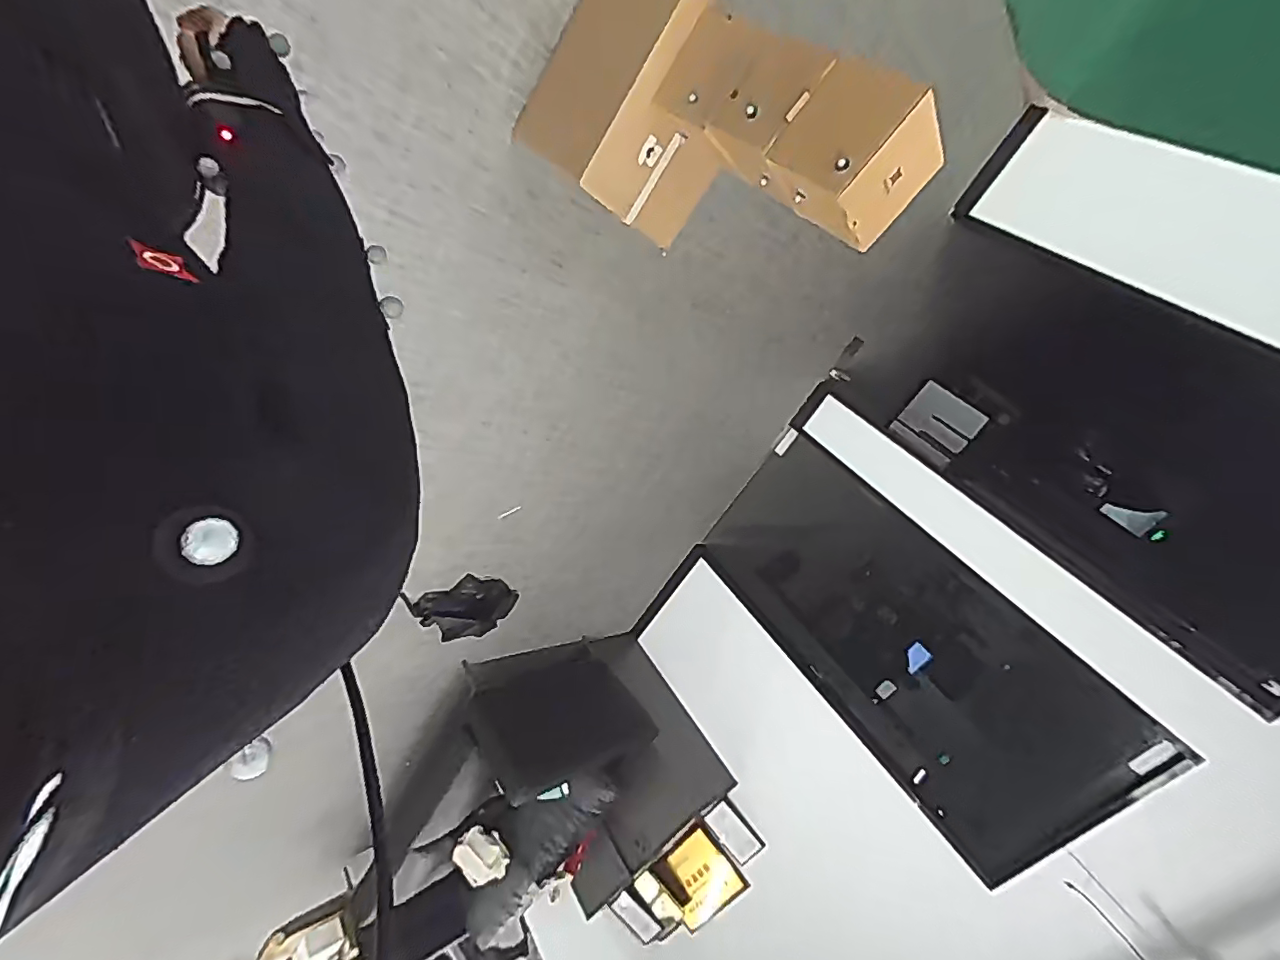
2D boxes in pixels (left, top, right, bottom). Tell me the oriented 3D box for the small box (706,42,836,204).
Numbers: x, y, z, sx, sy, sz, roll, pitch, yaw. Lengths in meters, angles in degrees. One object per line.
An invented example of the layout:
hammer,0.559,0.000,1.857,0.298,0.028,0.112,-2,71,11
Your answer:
small box,0.247,-0.623,0.953,0.168,0.176,0.179,-50,149,19

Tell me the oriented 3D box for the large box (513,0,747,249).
large box,-0.012,-0.823,1.209,0.320,0.320,0.408,10,123,-51

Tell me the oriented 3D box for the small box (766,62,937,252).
small box,0.338,-0.516,0.869,0.179,0.176,0.168,-49,149,18
